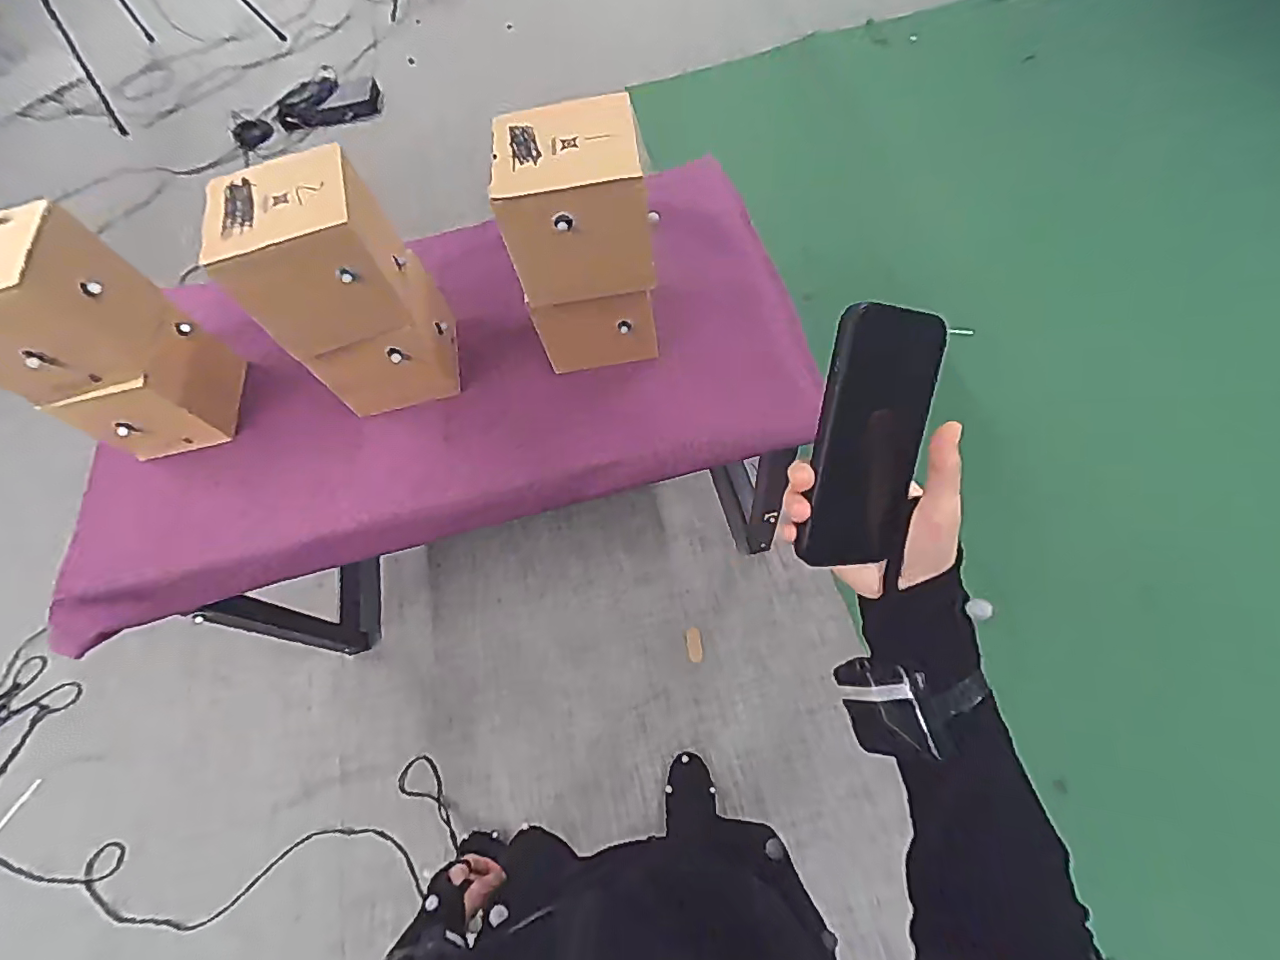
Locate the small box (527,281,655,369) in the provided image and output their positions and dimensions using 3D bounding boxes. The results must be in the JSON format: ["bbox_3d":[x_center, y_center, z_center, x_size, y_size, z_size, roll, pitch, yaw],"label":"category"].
[{"bbox_3d":[-0.070,-0.300,0.859,0.179,0.176,0.168,-8,63,5],"label":"small box"}]

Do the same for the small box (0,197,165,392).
[{"bbox_3d":[-0.811,-0.242,0.746,0.168,0.176,0.179,-17,64,-2],"label":"small box"}]

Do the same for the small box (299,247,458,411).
[{"bbox_3d":[-0.405,-0.235,0.871,0.179,0.176,0.168,-13,63,1],"label":"small box"}]

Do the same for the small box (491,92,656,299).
[{"bbox_3d":[-0.079,-0.359,0.706,0.179,0.176,0.168,-8,63,3],"label":"small box"}]

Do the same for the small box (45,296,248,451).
[{"bbox_3d":[-0.789,-0.164,0.889,0.168,0.176,0.179,-13,63,1],"label":"small box"}]
